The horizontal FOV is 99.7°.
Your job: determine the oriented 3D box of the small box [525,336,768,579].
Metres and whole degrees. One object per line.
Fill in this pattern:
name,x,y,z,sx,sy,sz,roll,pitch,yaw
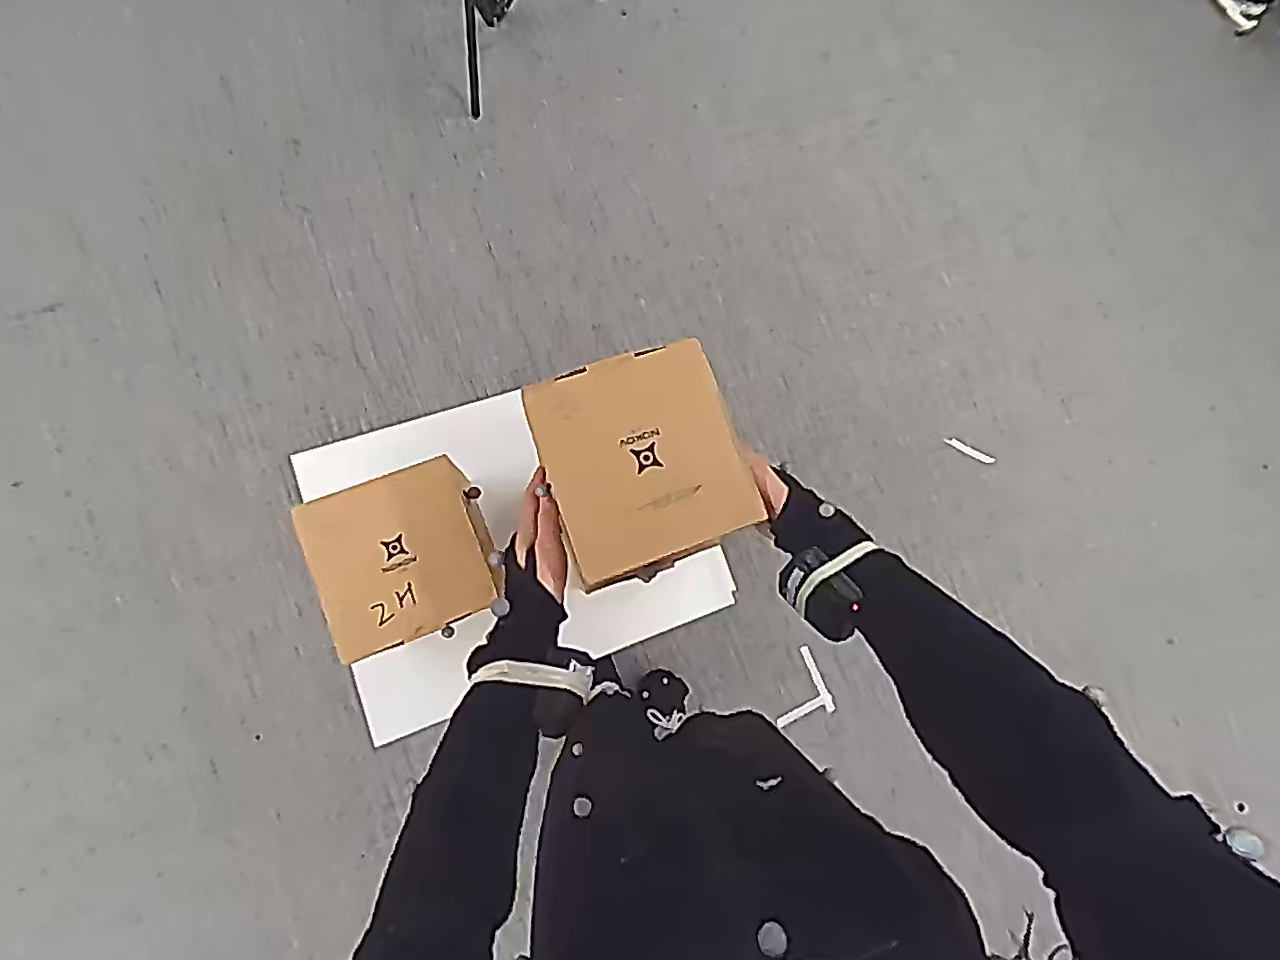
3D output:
small box,-0.004,-0.009,0.533,0.168,0.176,0.179,-19,83,-9

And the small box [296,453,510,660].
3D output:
small box,-0.265,0.090,0.644,0.168,0.176,0.179,-21,84,-12

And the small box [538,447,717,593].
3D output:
small box,-0.024,0.030,0.691,0.168,0.176,0.179,-18,84,-11
